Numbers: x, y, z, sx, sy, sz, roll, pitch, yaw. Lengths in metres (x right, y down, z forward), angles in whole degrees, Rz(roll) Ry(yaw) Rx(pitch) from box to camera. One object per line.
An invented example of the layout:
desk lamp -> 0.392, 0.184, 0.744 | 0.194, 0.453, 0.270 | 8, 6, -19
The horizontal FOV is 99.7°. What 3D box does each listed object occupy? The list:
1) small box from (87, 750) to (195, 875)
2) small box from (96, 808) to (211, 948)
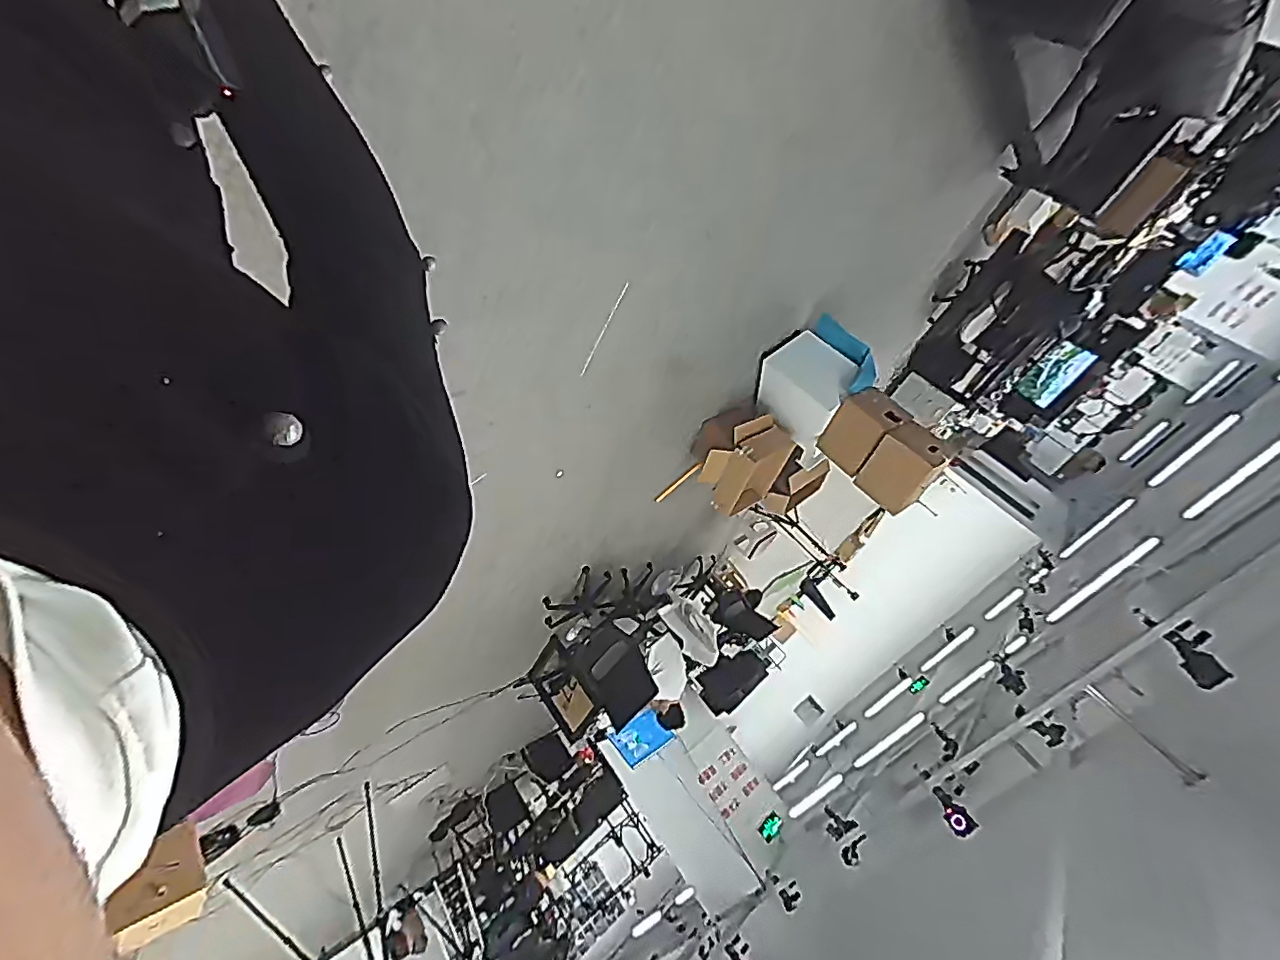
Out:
small box -> -1.234, 0.810, 1.333 | 0.179, 0.176, 0.168 | -5, 137, -50
small box -> -1.137, 0.917, 1.260 | 0.179, 0.176, 0.168 | -7, 137, -50
